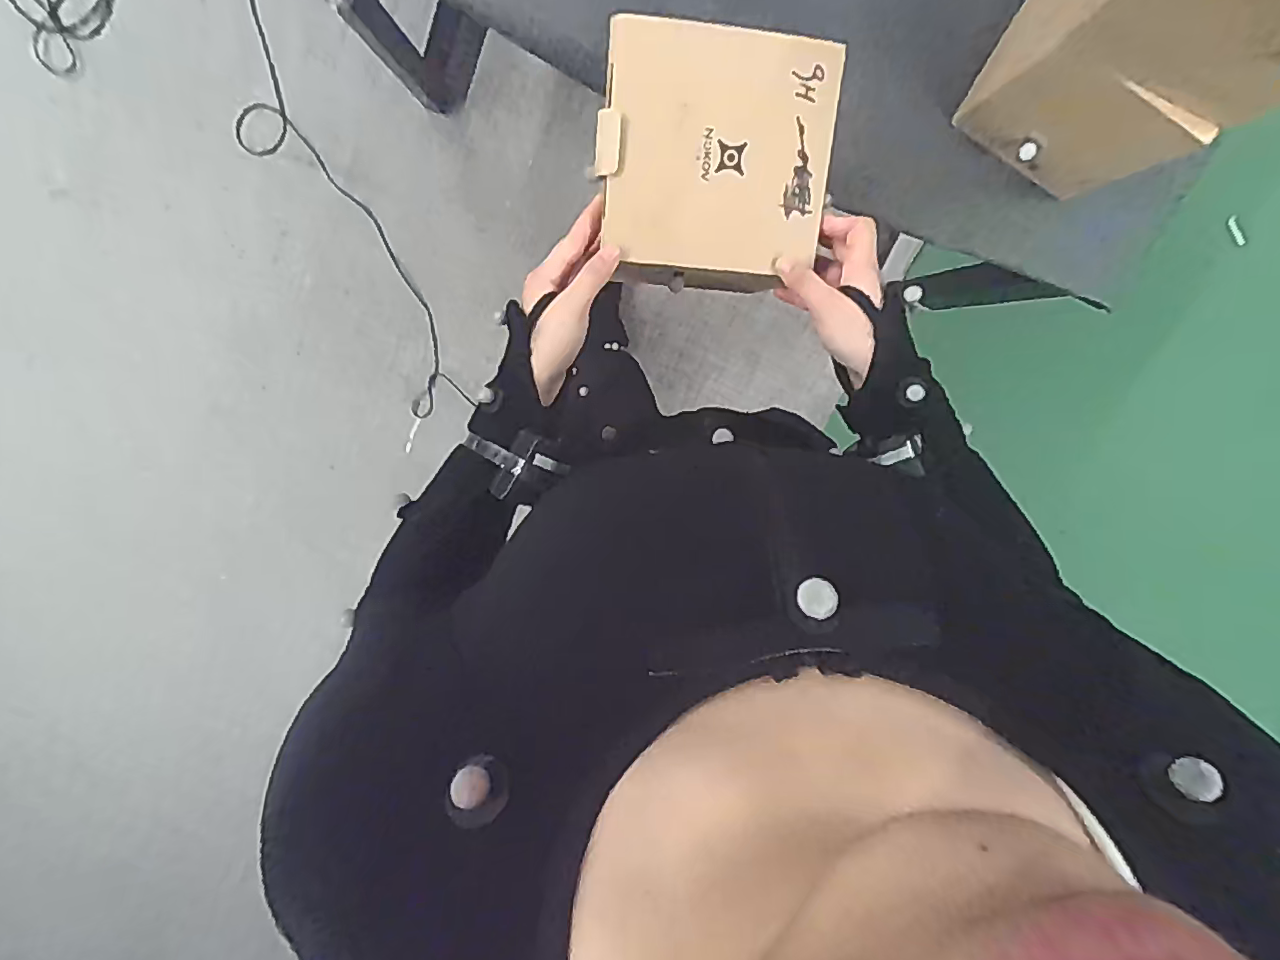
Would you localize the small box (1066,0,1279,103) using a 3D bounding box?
[{"bbox_3d":[0.451,-0.393,0.355,0.179,0.176,0.168,21,100,-4],"label":"small box"}]

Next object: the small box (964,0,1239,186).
[{"bbox_3d":[0.460,-0.424,0.514,0.168,0.176,0.179,29,101,-6],"label":"small box"}]
